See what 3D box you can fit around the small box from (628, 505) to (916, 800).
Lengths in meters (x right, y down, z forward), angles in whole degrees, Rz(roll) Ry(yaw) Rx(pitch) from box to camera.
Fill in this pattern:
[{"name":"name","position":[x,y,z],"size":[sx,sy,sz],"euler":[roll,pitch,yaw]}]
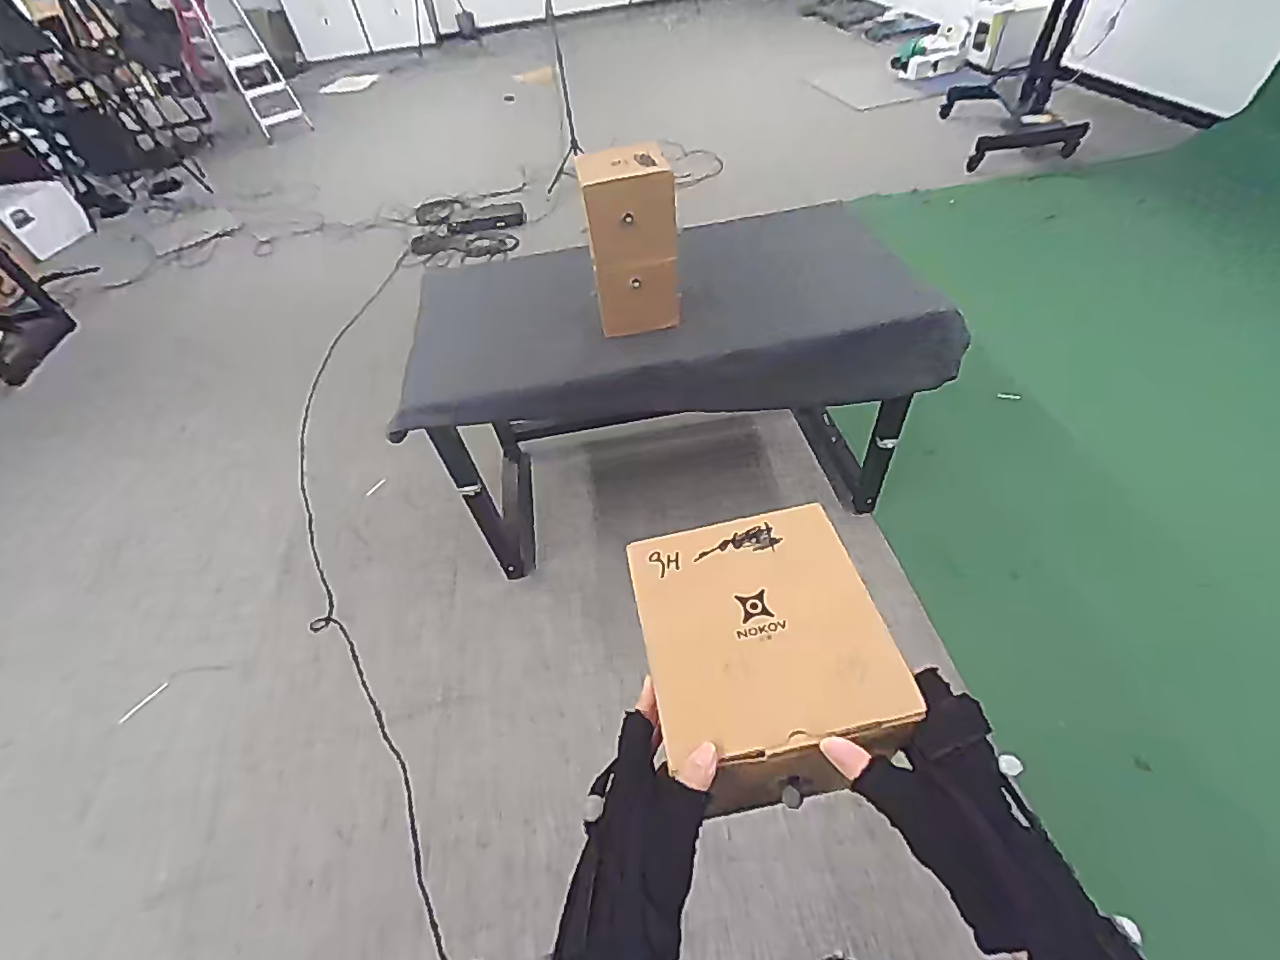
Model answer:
[{"name":"small box","position":[0.093,0.151,0.453],"size":[0.168,0.176,0.179],"euler":[-12,50,-2]}]

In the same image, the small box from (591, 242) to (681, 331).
[{"name":"small box","position":[-0.007,-0.454,1.220],"size":[0.179,0.176,0.168],"euler":[-9,50,-2]}]

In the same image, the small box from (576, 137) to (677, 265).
[{"name":"small box","position":[-0.023,-0.563,1.098],"size":[0.179,0.176,0.168],"euler":[-12,50,-1]}]
